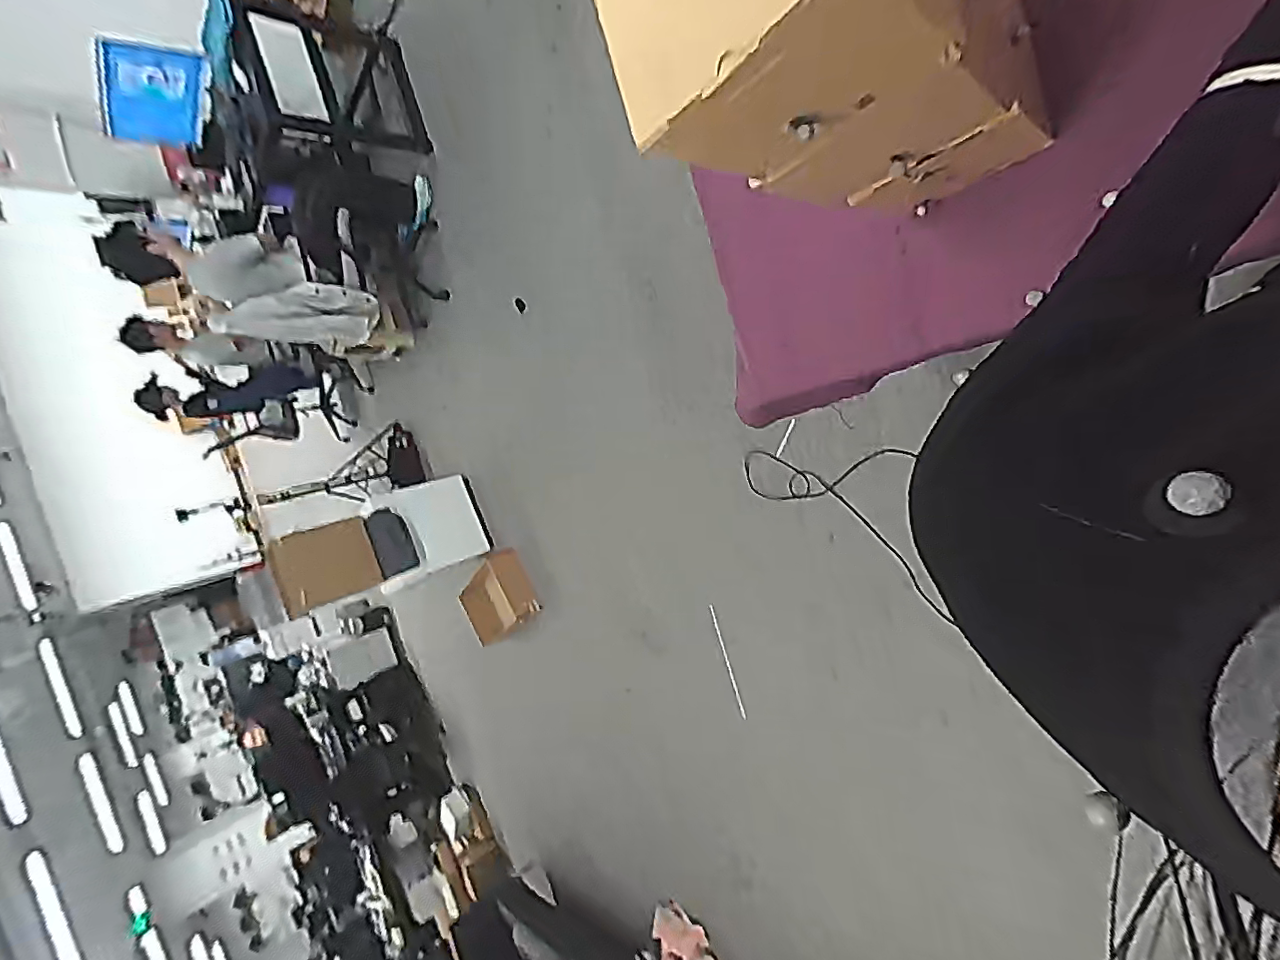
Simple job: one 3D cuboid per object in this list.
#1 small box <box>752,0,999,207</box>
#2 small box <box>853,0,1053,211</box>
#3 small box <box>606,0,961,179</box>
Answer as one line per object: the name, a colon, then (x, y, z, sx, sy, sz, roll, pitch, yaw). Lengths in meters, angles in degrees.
small box: (0.203, -0.375, 0.492, 0.179, 0.176, 0.168, -11, 95, 47)
small box: (0.326, -0.418, 0.594, 0.168, 0.176, 0.179, -13, 93, 47)
small box: (0.094, -0.343, 0.375, 0.168, 0.176, 0.179, -13, 95, 48)
